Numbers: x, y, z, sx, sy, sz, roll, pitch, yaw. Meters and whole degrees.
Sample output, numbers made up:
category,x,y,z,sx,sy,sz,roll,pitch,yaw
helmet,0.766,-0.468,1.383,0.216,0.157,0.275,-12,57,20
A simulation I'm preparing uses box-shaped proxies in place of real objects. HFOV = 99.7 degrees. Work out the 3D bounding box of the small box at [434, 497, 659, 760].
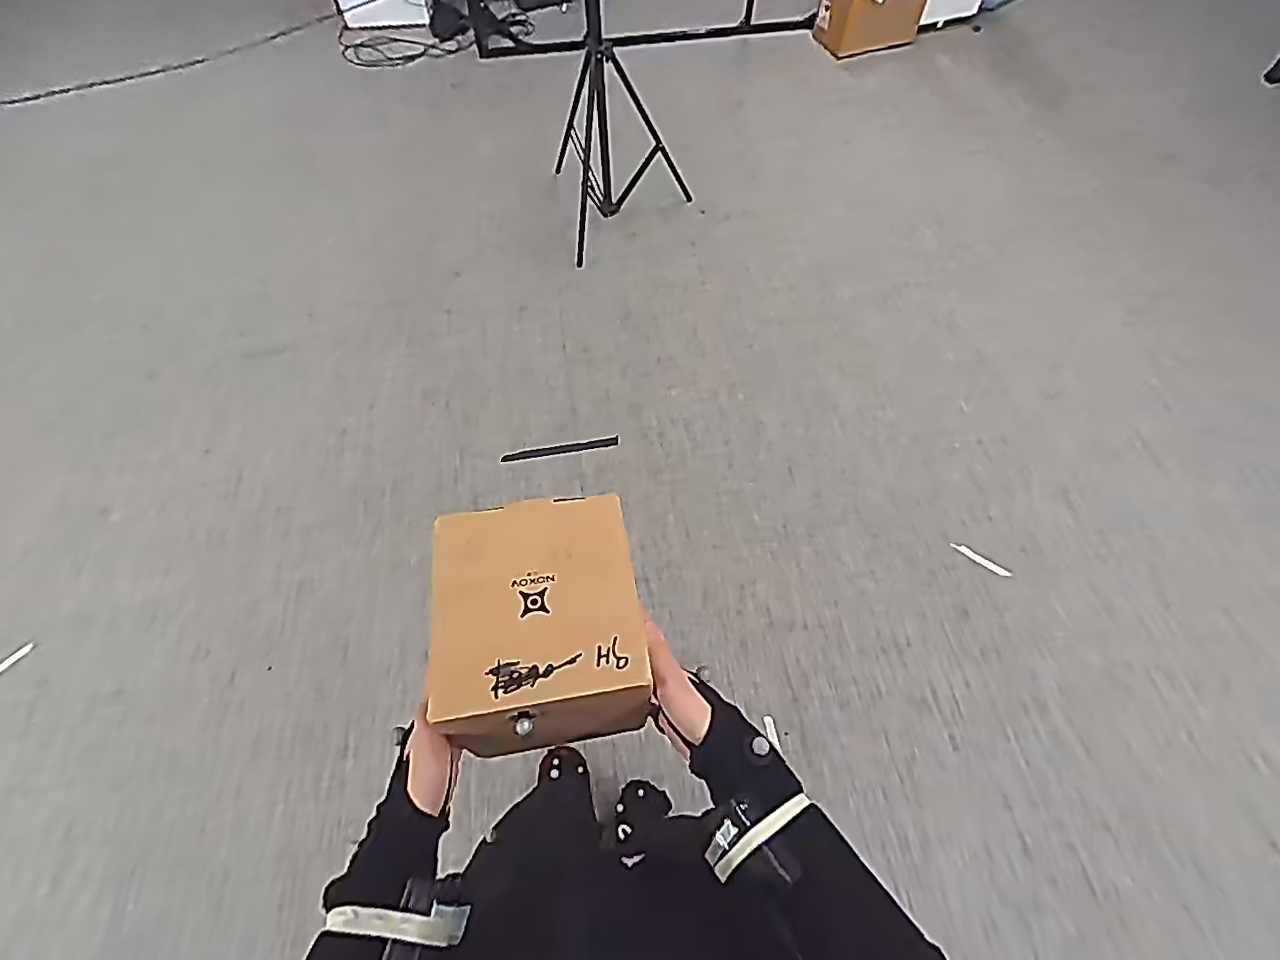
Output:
category,x,y,z,sx,sy,sz,roll,pitch,yaw
small box,-0.083,0.140,0.504,0.168,0.176,0.179,-7,55,-7
